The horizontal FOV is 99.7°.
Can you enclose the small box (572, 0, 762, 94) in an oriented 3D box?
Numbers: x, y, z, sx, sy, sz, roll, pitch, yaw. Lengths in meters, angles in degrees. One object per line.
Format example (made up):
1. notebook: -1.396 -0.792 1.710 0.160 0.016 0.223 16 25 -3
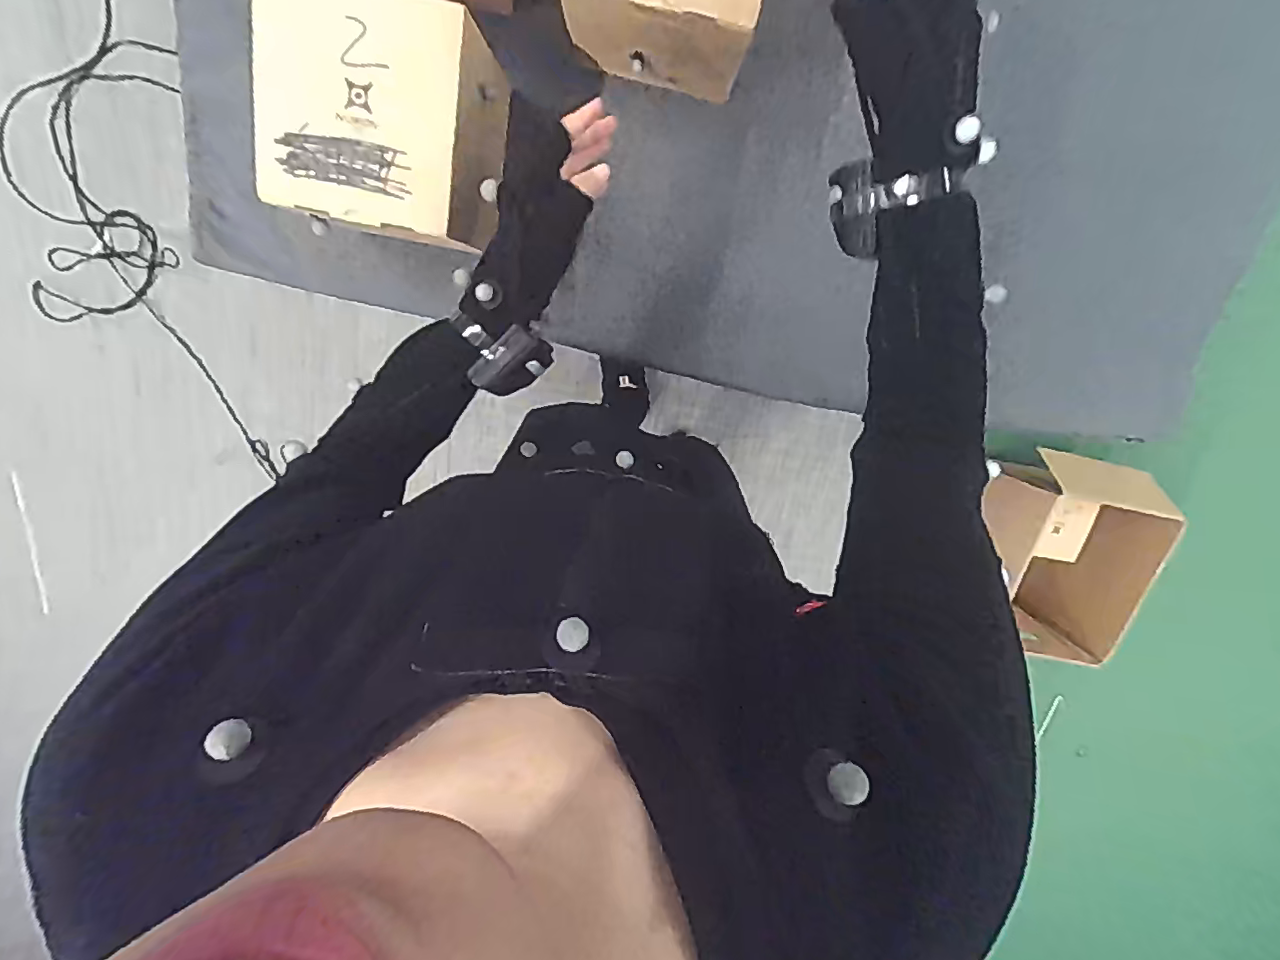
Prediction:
1. small box: 0.031 -0.485 0.478 0.168 0.176 0.179 12 110 -4
